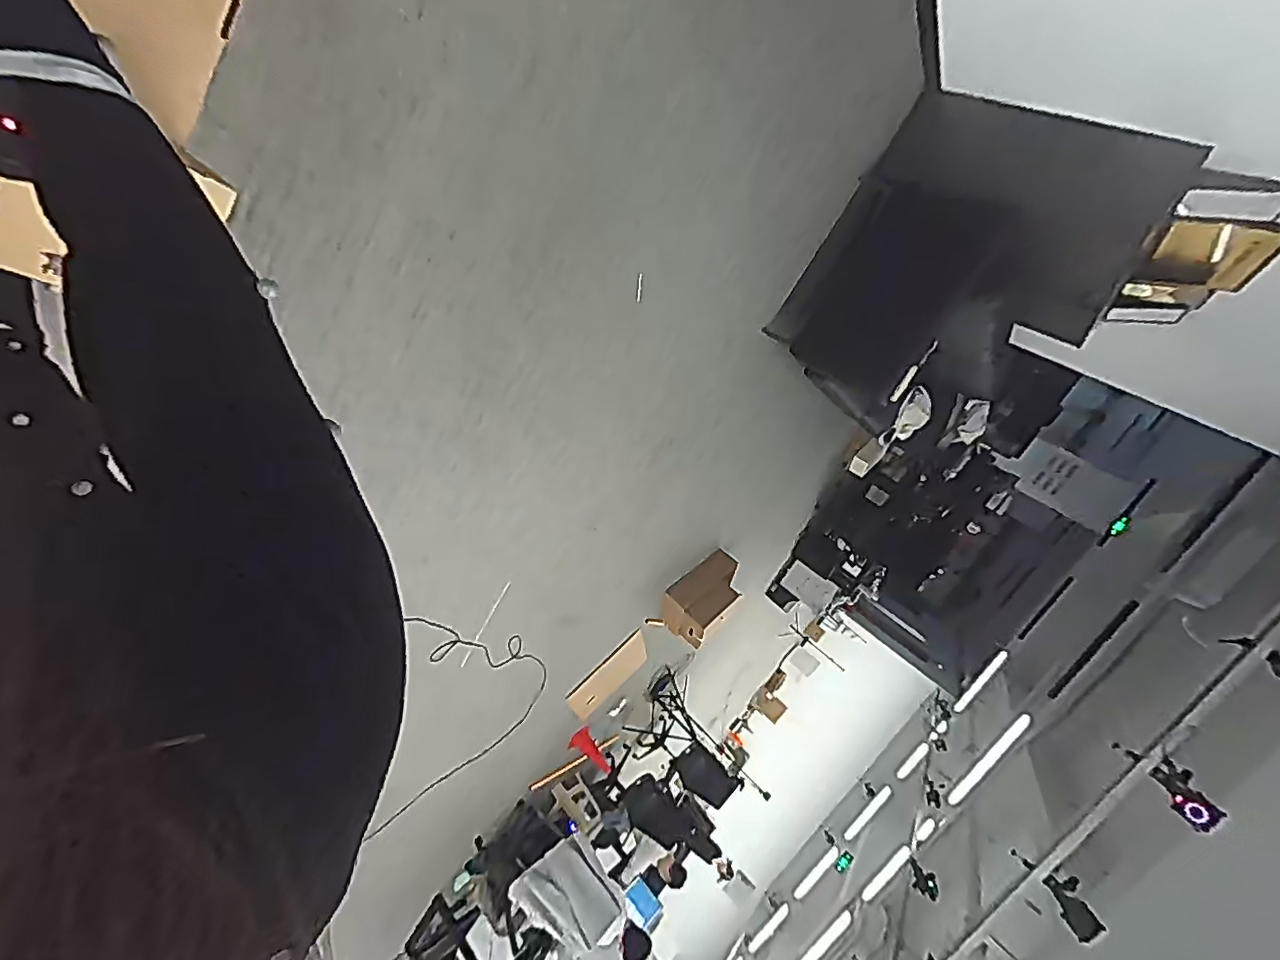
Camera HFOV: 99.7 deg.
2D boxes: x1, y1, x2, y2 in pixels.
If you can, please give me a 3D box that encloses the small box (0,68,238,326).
[{"bbox_3d":[-0.600,-0.308,0.599,0.179,0.176,0.168,-58,151,8],"label":"small box"}]
